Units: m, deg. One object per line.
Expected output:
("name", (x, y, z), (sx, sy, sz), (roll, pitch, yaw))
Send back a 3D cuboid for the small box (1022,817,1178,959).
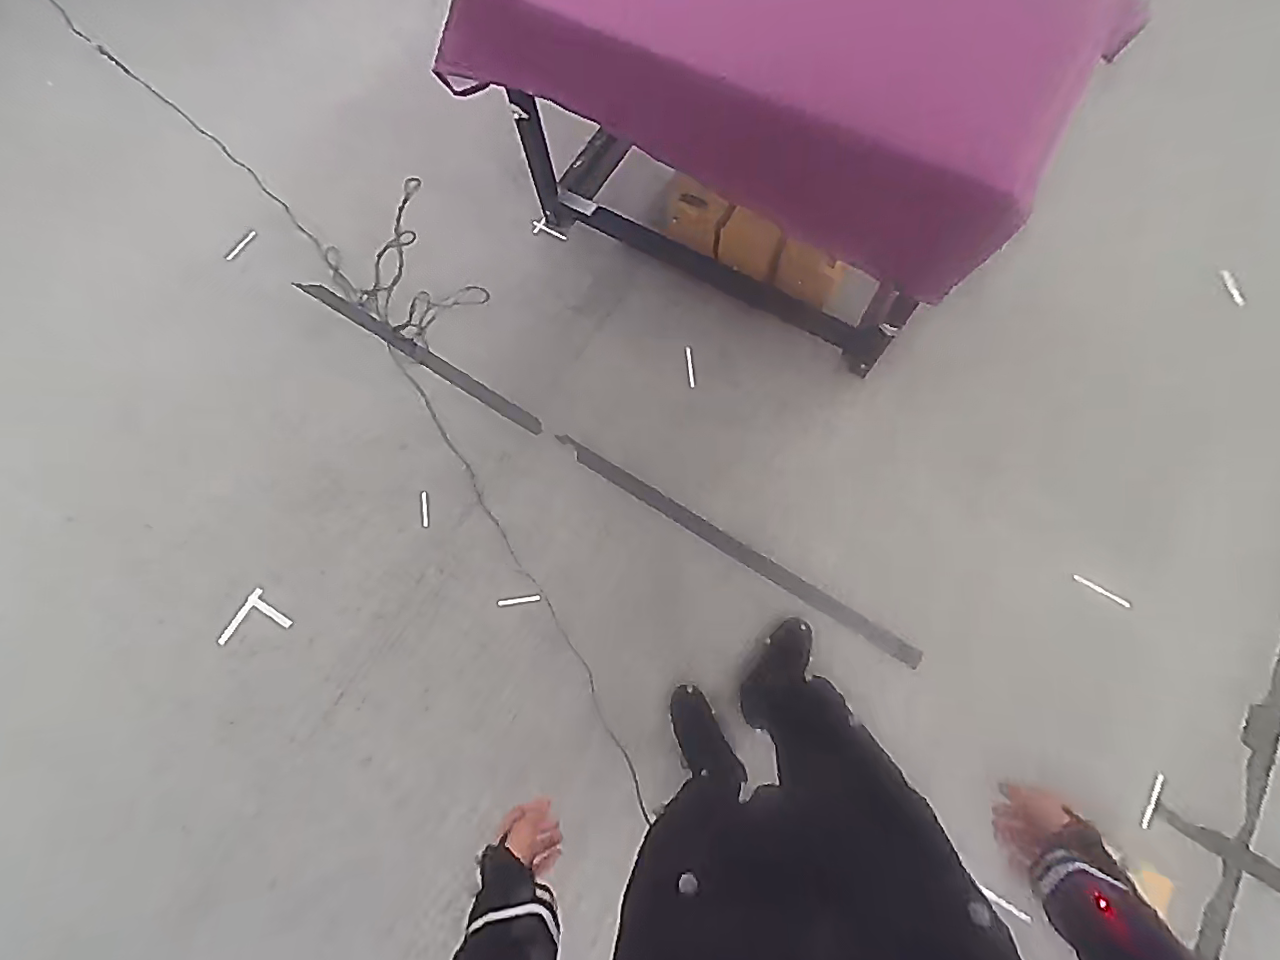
("small box", (0.993, 0.879, 1.181), (0.179, 0.176, 0.168), (27, 78, 11))
